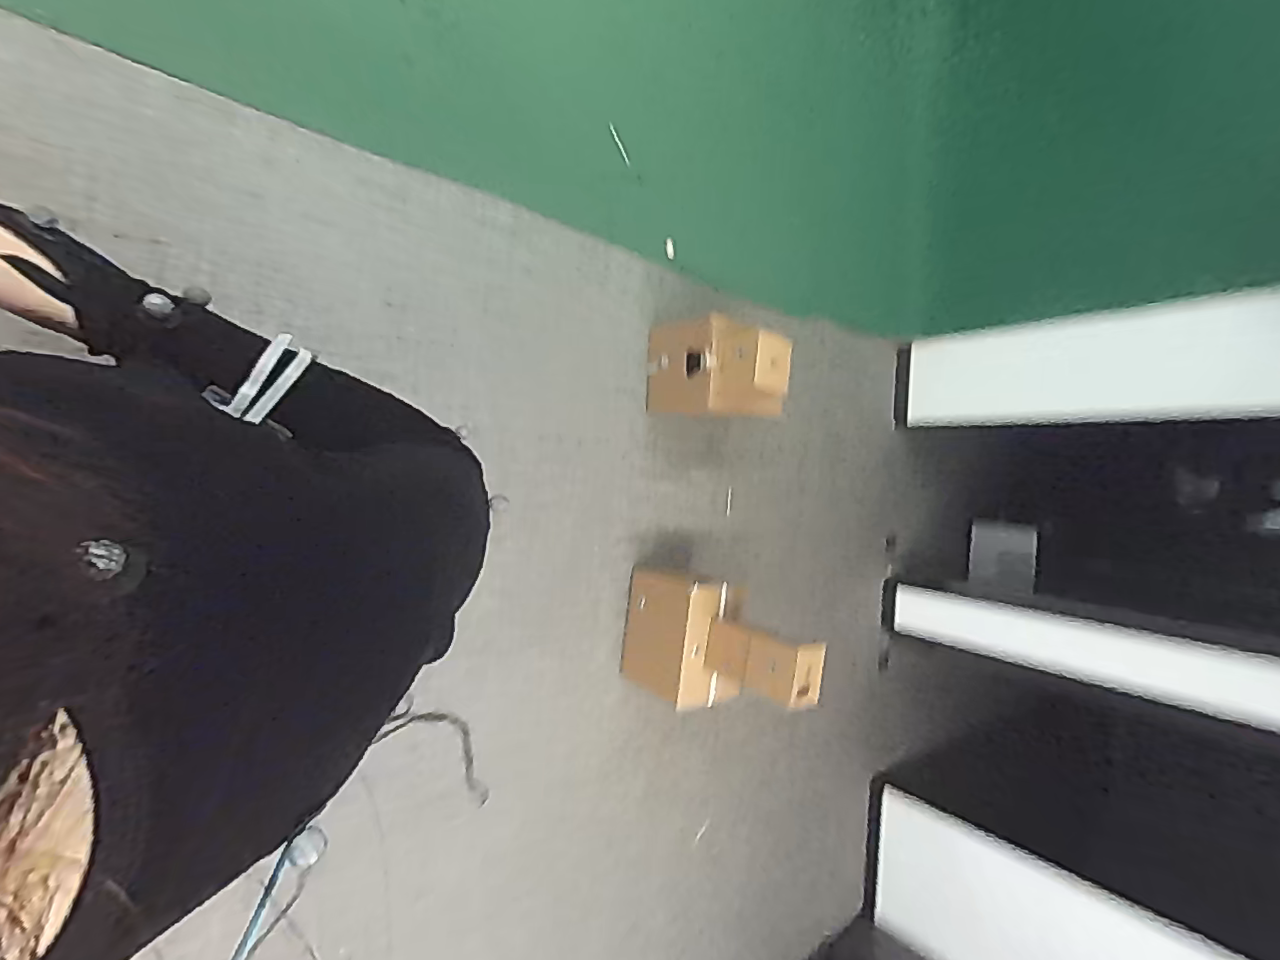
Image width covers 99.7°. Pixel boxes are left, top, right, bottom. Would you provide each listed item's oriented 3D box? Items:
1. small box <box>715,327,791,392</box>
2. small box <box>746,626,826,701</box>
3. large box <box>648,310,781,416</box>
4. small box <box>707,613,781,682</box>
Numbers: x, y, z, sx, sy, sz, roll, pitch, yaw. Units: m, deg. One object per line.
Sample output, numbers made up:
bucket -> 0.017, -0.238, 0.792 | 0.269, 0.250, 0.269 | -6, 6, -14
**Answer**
small box -> 0.363, -0.382, 1.750 | 0.179, 0.176, 0.168 | 4, 91, -41
small box -> 0.450, 0.564, 1.676 | 0.168, 0.176, 0.179 | 14, 84, -42
large box -> 0.273, -0.409, 1.993 | 0.408, 0.320, 0.320 | 0, 93, -41
small box -> 0.344, 0.552, 1.801 | 0.168, 0.176, 0.179 | 12, 85, -42
